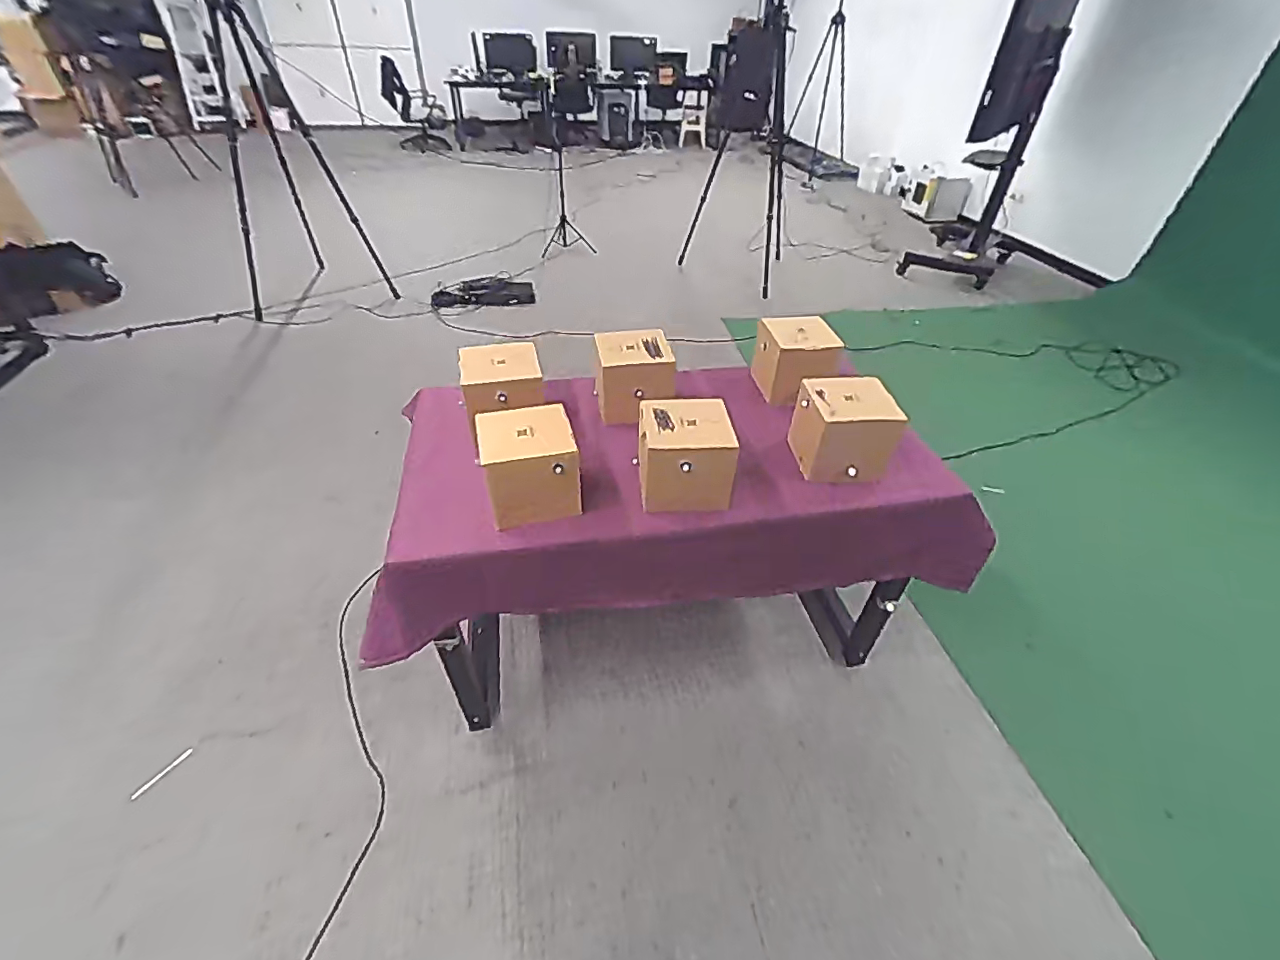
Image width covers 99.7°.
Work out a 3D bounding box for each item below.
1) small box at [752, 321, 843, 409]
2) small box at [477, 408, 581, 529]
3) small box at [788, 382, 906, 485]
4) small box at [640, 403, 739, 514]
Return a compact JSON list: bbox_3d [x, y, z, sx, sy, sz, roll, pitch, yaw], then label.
[{"bbox_3d":[0.407,-0.306,1.434,0.168,0.176,0.179,-4,42,-6],"label":"small box"},{"bbox_3d":[-0.219,-0.021,1.077,0.179,0.176,0.168,-9,42,-15],"label":"small box"},{"bbox_3d":[0.448,-0.100,1.201,0.179,0.176,0.168,-1,41,-4],"label":"small box"},{"bbox_3d":[0.092,-0.043,1.117,0.179,0.176,0.168,-1,41,-5],"label":"small box"}]
